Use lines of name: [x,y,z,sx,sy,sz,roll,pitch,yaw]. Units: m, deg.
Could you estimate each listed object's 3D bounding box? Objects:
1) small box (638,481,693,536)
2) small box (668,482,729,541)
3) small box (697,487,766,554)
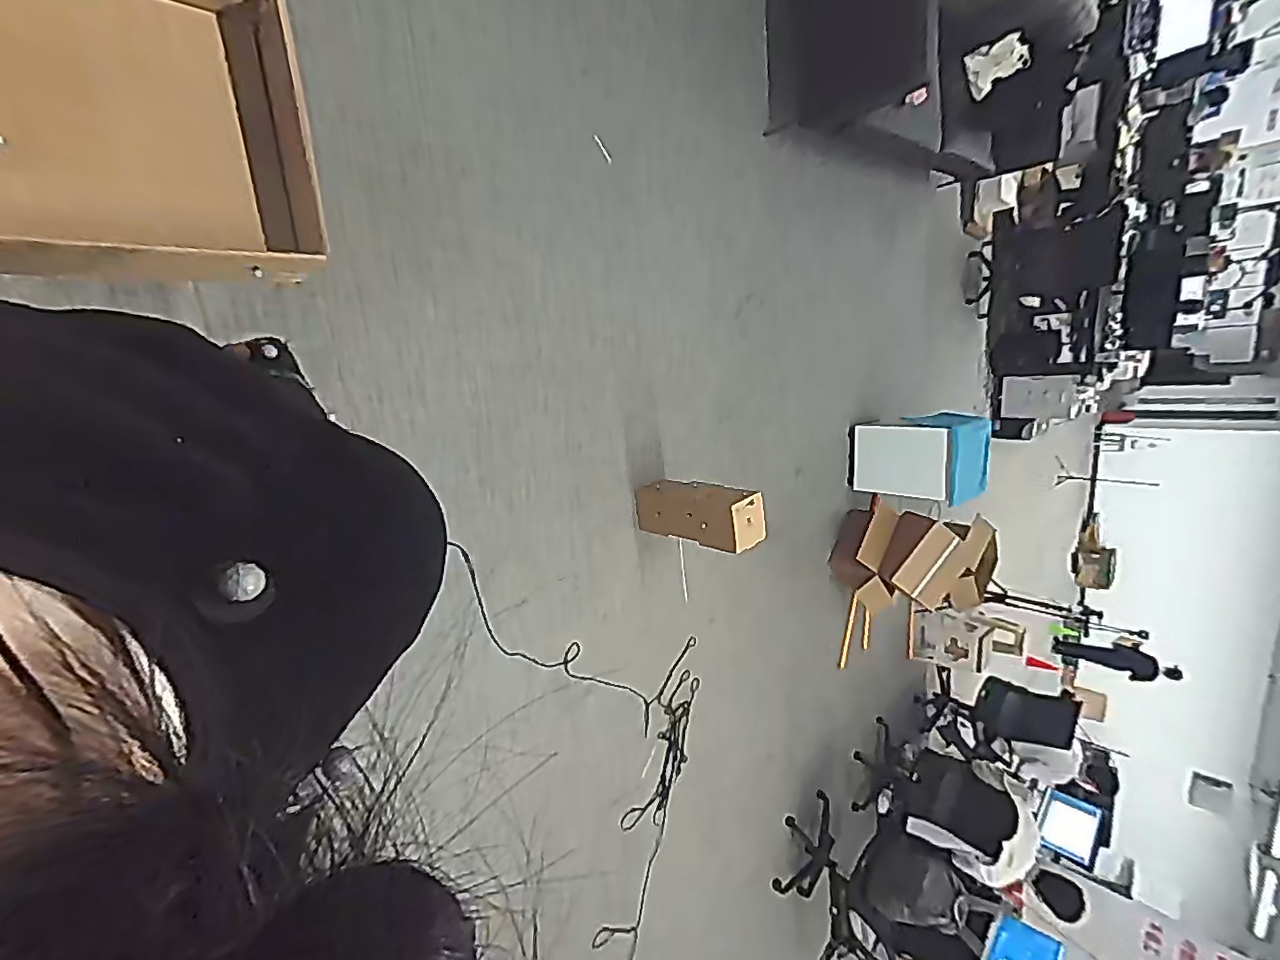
small box: [0.107,0.104,2.122,0.168,0.176,0.179,-18,108,-40]
small box: [0.217,0.110,1.999,0.168,0.176,0.179,-17,107,-39]
small box: [0.316,0.134,1.871,0.168,0.176,0.179,-20,109,-39]
